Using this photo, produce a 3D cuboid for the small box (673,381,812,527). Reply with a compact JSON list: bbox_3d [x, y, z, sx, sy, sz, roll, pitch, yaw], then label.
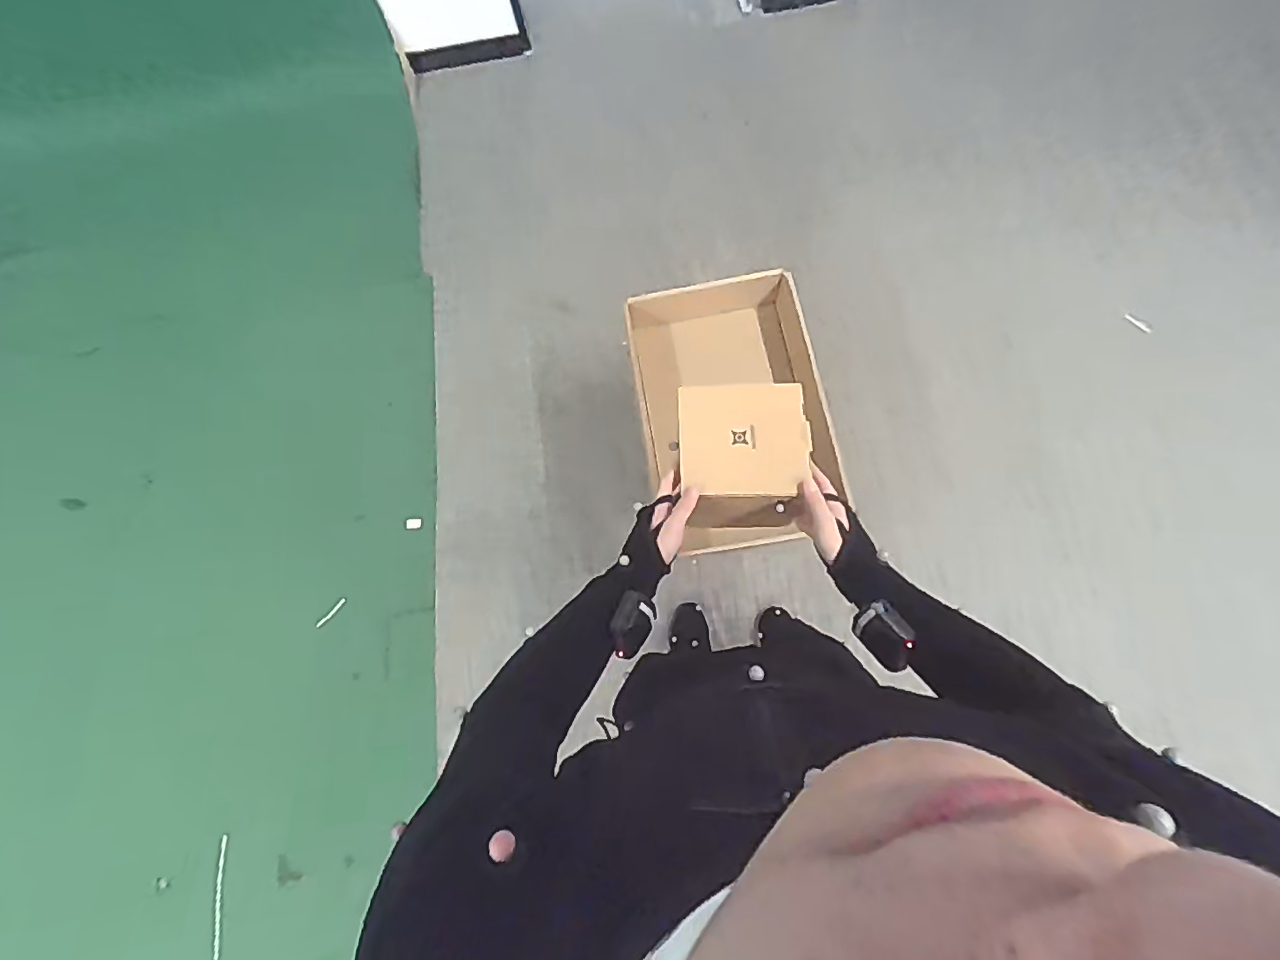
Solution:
[{"bbox_3d":[0.140,-0.030,0.799,0.179,0.176,0.168,-2,70,2],"label":"small box"}]
